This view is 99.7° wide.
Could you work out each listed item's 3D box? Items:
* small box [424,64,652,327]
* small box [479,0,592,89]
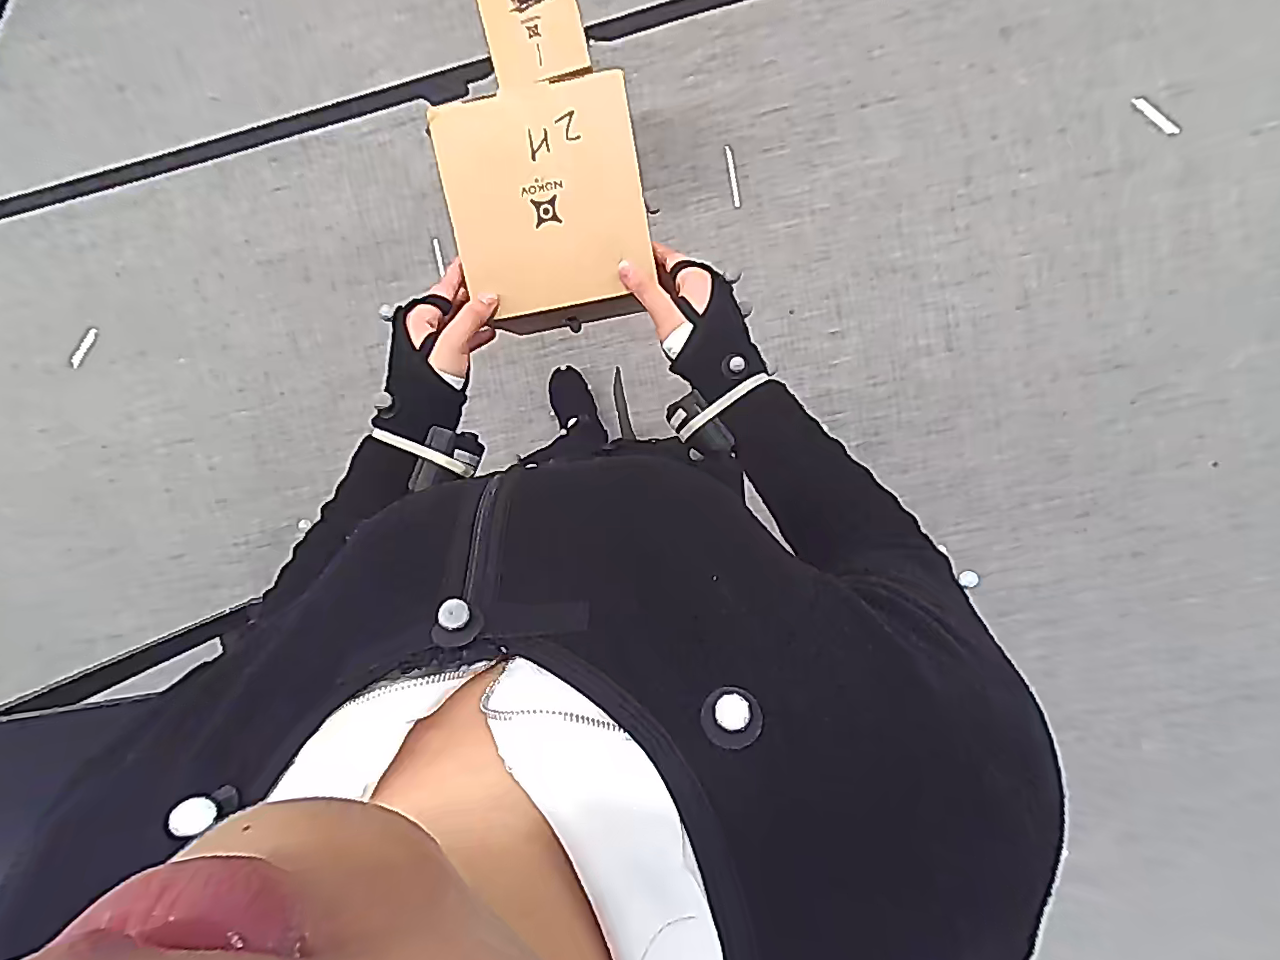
[{"bbox_3d":[-0.081,-0.254,0.533,0.168,0.176,0.179,-11,100,3],"label":"small box"},{"bbox_3d":[-0.177,-0.773,1.000,0.168,0.176,0.179,-13,96,5],"label":"small box"}]
